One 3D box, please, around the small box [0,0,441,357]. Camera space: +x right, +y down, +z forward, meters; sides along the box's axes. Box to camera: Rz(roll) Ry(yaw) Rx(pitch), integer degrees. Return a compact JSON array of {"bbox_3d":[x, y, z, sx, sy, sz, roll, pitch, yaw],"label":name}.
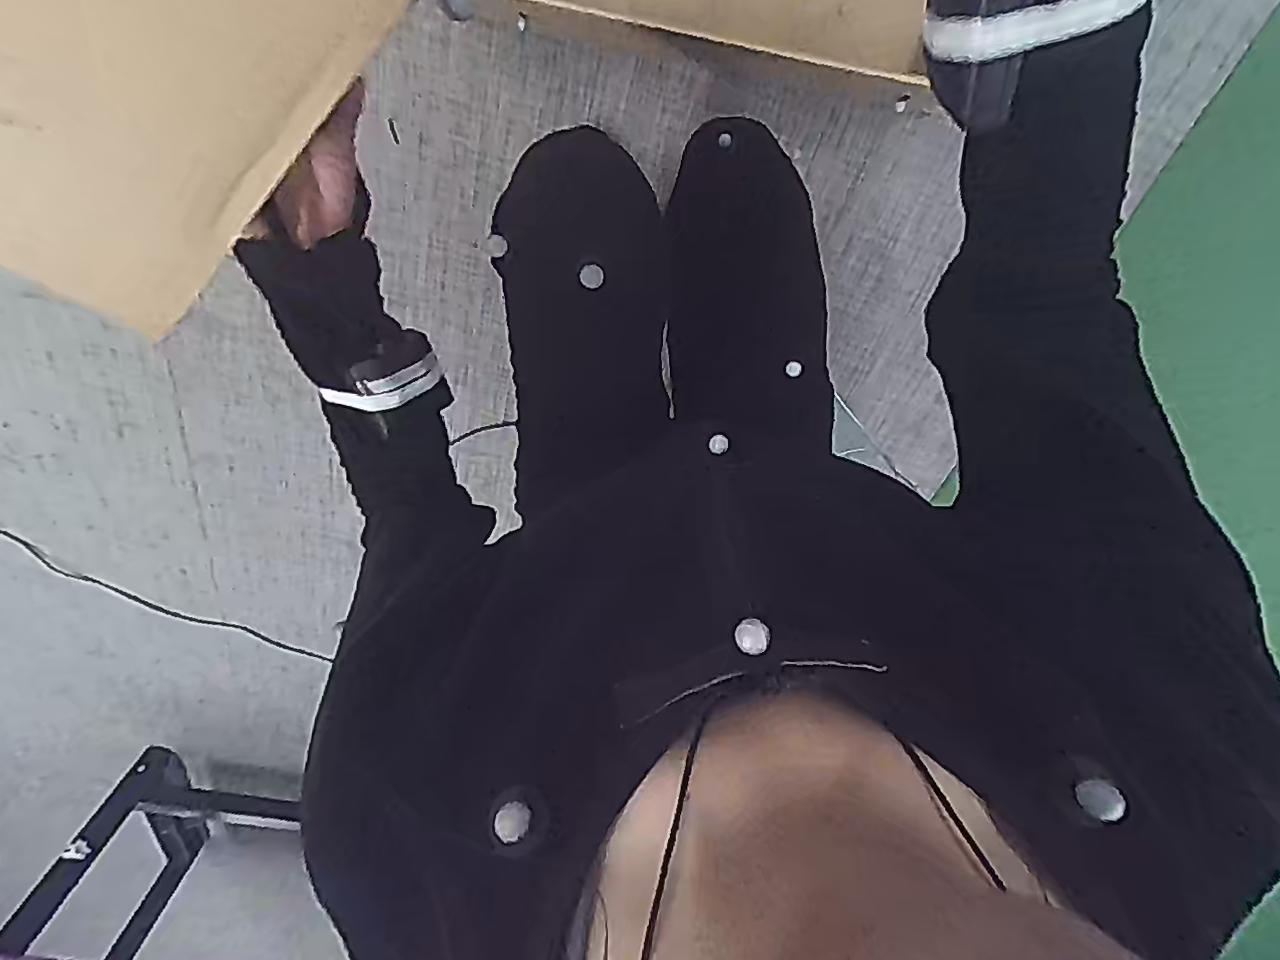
[{"bbox_3d":[-0.161,-0.179,0.150,0.179,0.176,0.168,-32,136,24],"label":"small box"}]
